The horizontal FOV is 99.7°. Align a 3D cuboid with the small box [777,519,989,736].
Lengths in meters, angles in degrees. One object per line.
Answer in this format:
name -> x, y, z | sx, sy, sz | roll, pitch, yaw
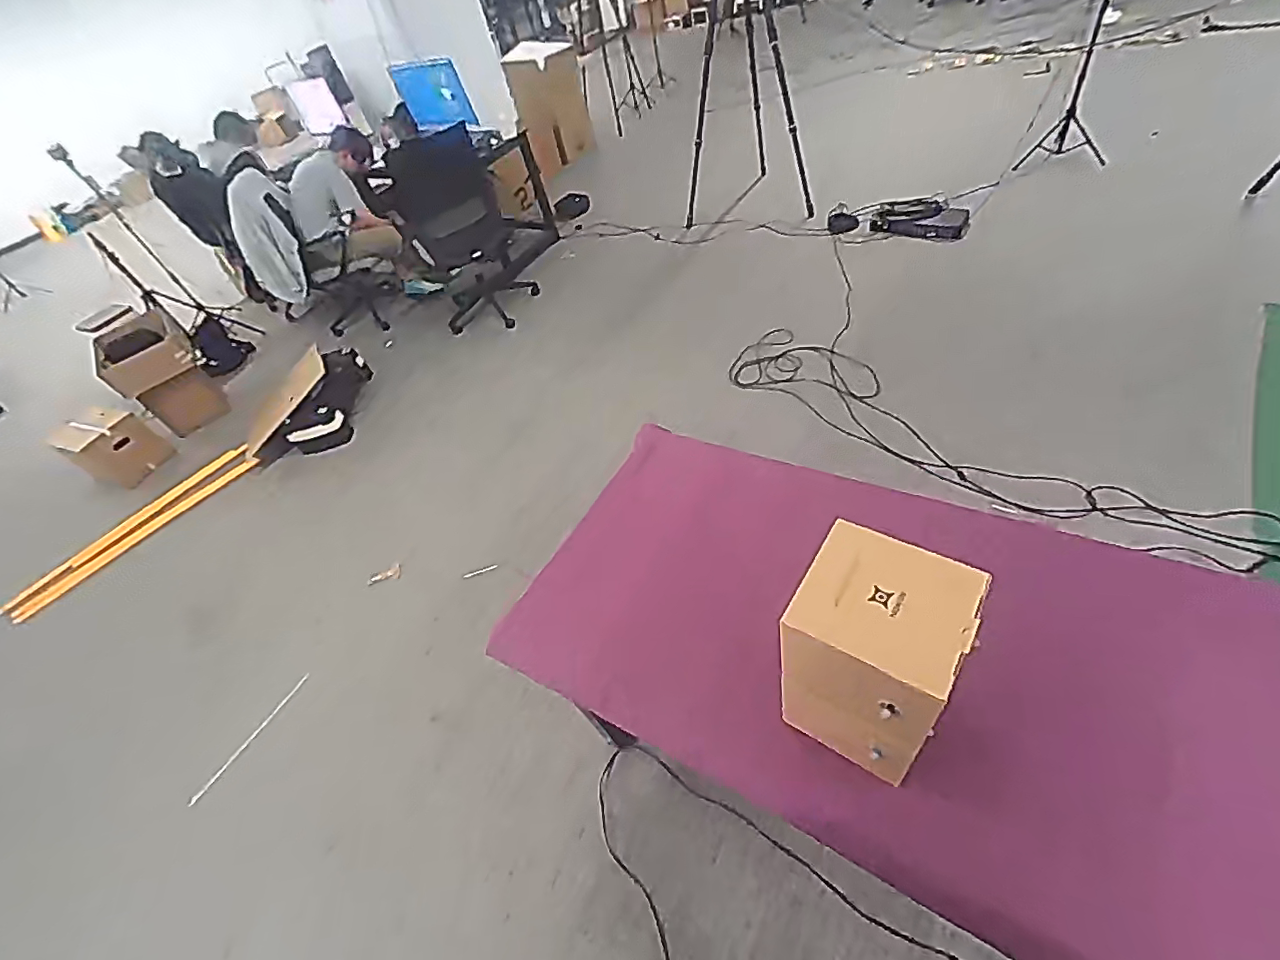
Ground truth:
small box -> 0.286, 0.183, 0.659 | 0.179, 0.176, 0.168 | 22, 58, 32
